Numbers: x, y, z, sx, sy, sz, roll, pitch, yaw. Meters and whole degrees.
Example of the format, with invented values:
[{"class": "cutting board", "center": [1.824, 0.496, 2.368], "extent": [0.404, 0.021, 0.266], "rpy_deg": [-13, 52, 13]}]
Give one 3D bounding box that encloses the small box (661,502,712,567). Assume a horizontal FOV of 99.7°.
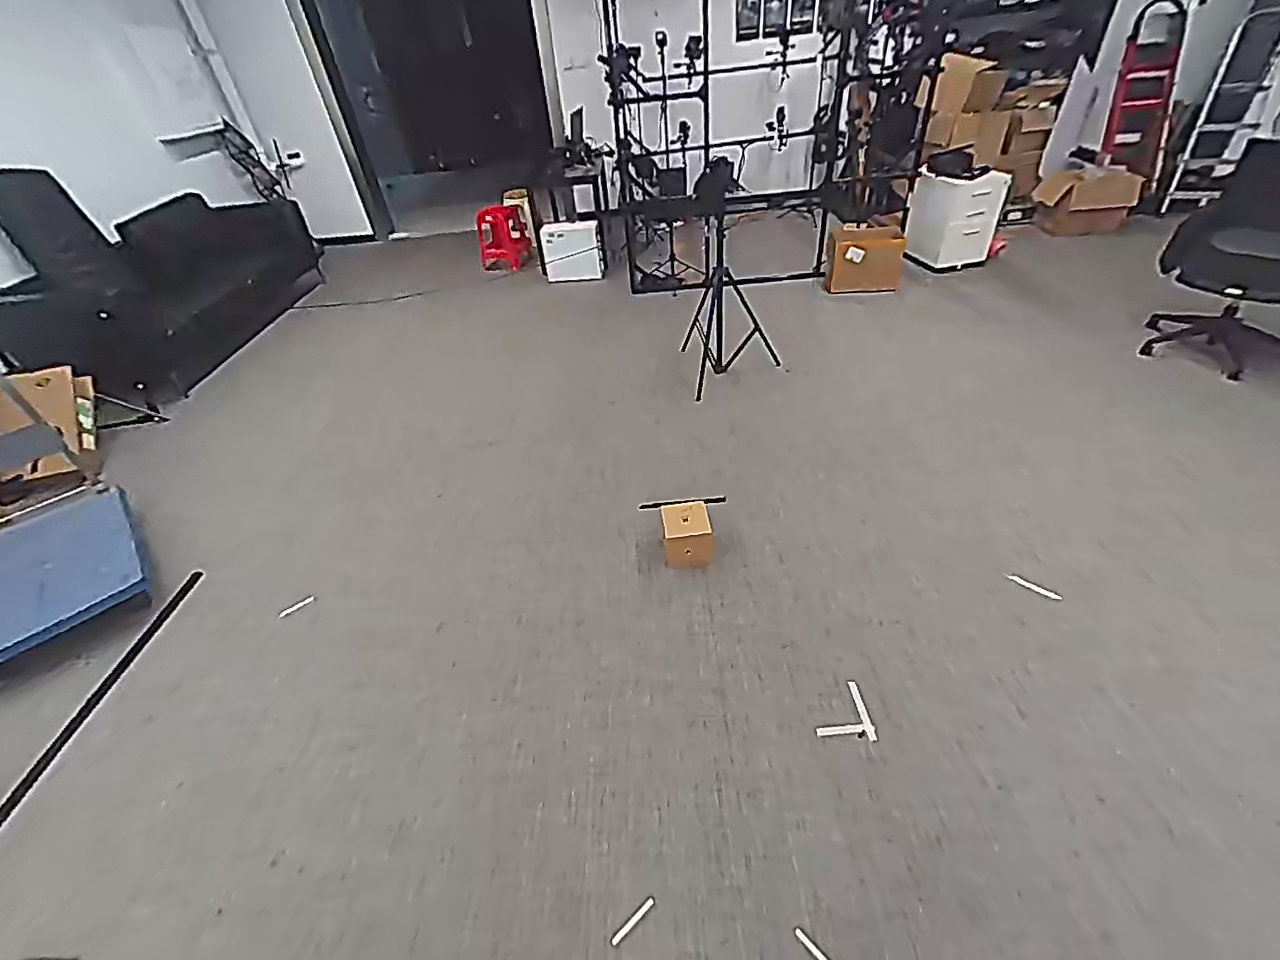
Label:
[{"class": "small box", "center": [0.173, 0.209, 2.009], "extent": [0.168, 0.176, 0.179], "rpy_deg": [-7, 38, -1]}]
